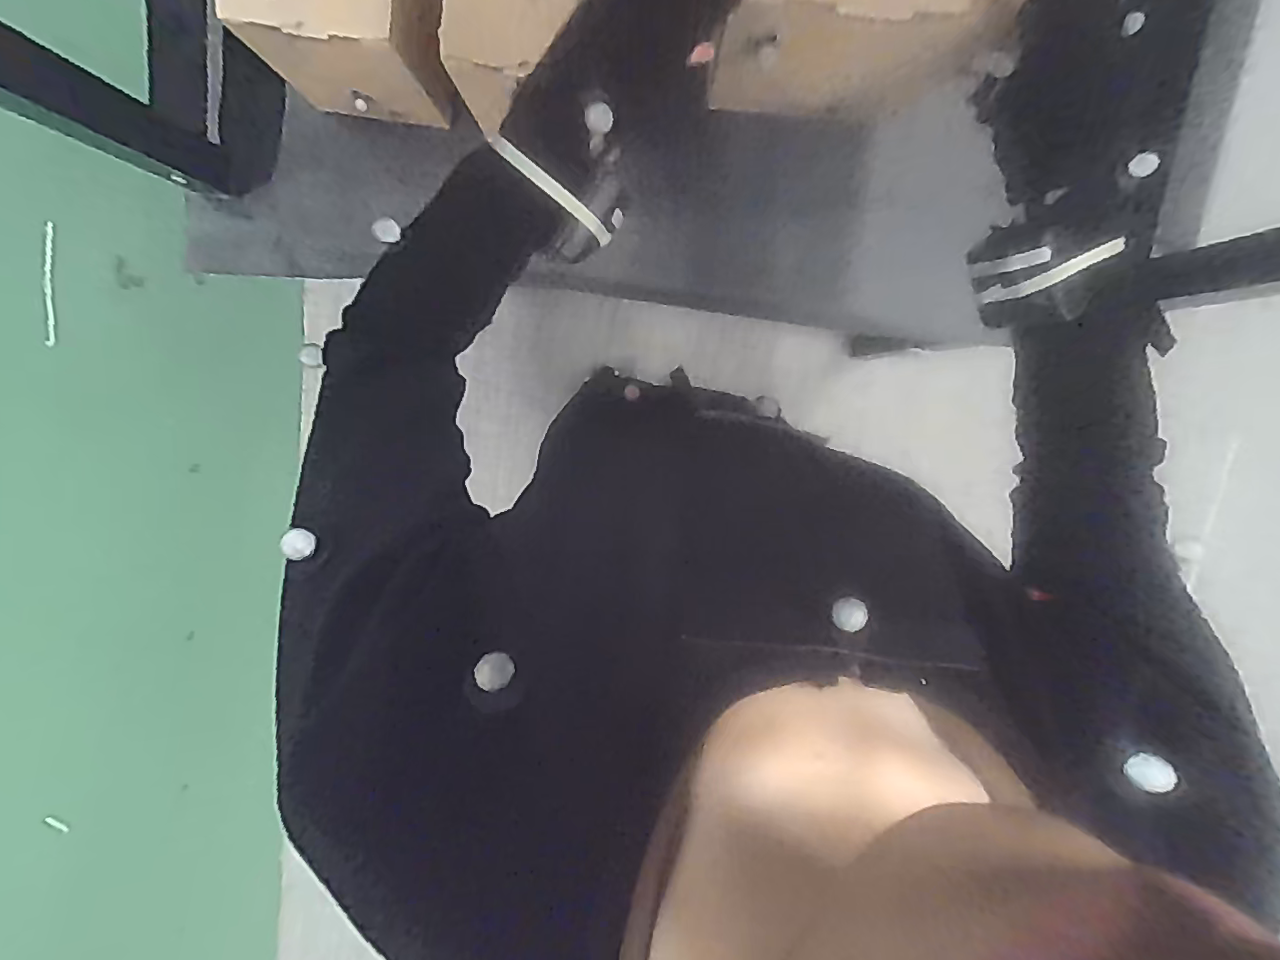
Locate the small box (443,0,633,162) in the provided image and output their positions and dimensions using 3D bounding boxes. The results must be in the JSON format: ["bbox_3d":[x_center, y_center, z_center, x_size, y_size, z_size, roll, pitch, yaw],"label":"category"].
[{"bbox_3d":[-0.098,-0.482,0.586,0.168,0.176,0.179,8,99,-1],"label":"small box"}]

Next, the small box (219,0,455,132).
[{"bbox_3d":[-0.302,-0.515,0.577,0.168,0.176,0.179,8,99,-1],"label":"small box"}]
